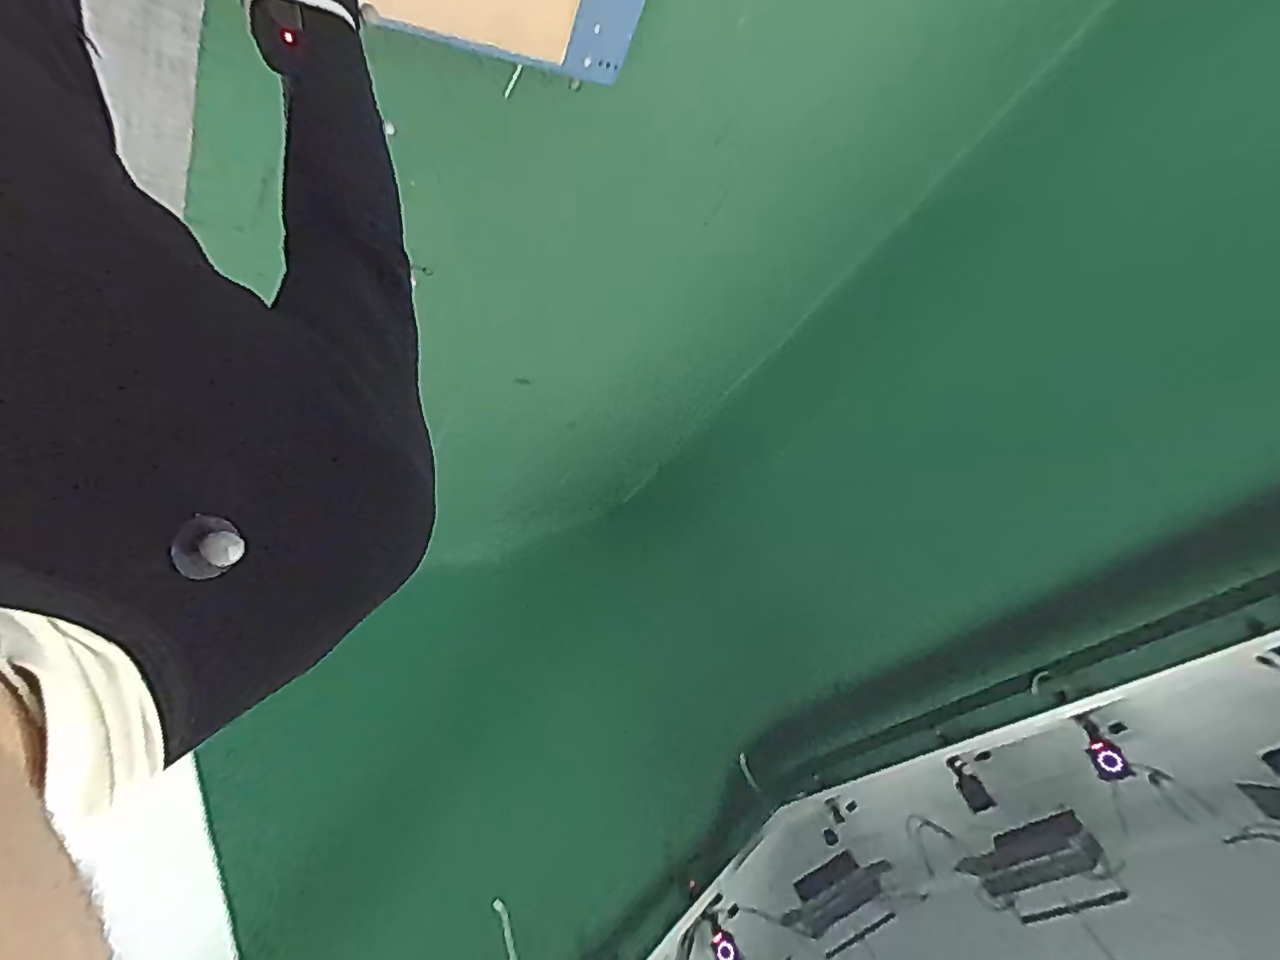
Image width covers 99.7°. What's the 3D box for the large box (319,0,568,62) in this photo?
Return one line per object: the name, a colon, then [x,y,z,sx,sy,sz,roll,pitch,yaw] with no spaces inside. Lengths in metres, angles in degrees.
large box: [-0.338,-0.942,0.850,0.408,0.320,0.320,-17,154,-37]
